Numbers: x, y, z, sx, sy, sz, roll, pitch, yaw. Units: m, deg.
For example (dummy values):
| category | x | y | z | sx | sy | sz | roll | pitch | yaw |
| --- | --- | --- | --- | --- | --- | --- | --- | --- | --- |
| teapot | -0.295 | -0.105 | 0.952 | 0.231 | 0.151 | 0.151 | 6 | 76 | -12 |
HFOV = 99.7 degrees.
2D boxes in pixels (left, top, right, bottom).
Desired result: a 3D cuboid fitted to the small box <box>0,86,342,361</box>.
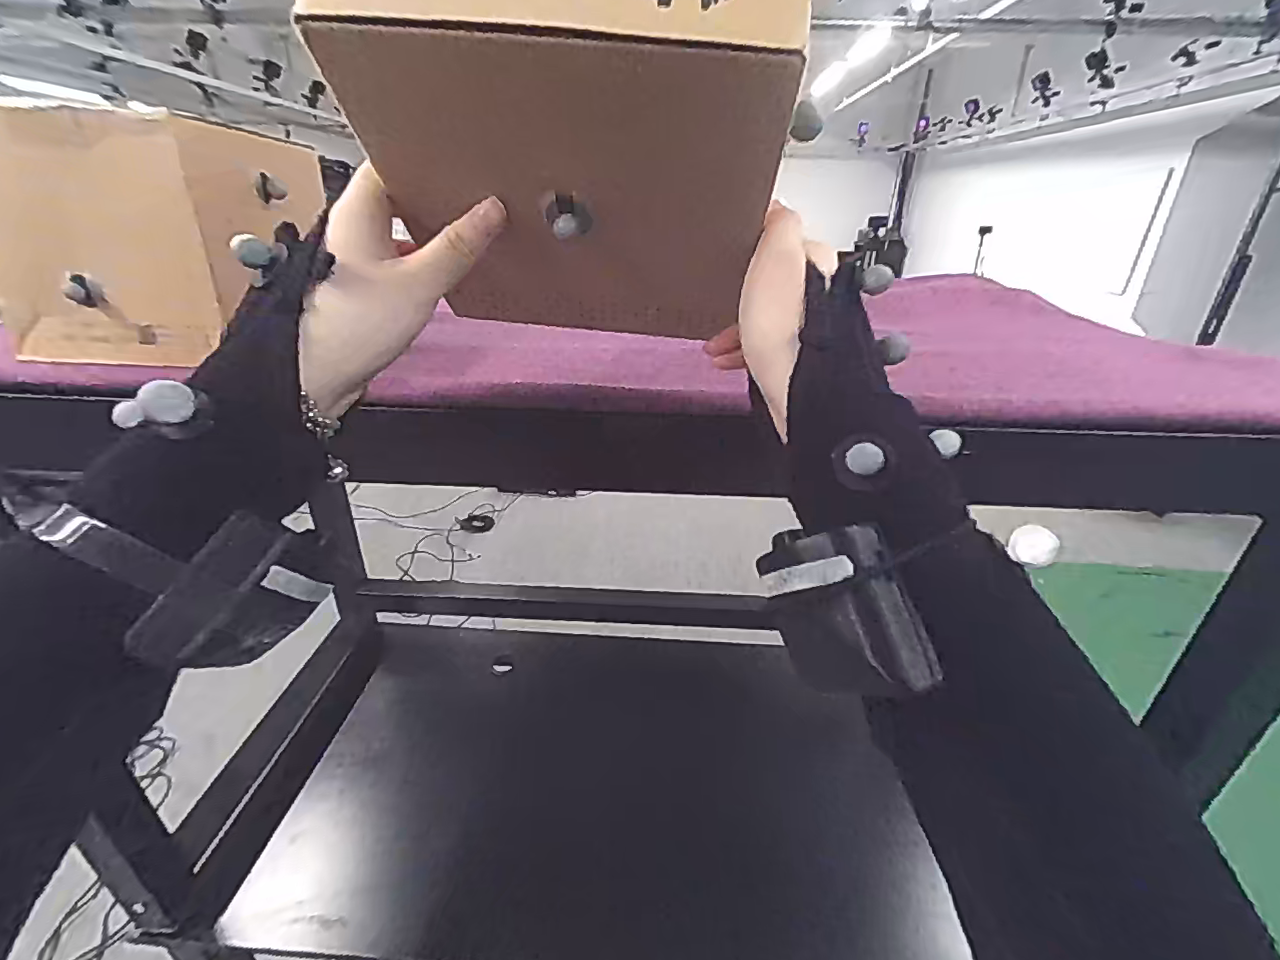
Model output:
| category | x | y | z | sx | sy | sz | roll | pitch | yaw |
| --- | --- | --- | --- | --- | --- | --- | --- | --- | --- |
| small box | -0.374 | -0.204 | 0.449 | 0.168 | 0.176 | 0.179 | 2 | 25 | -1 |
